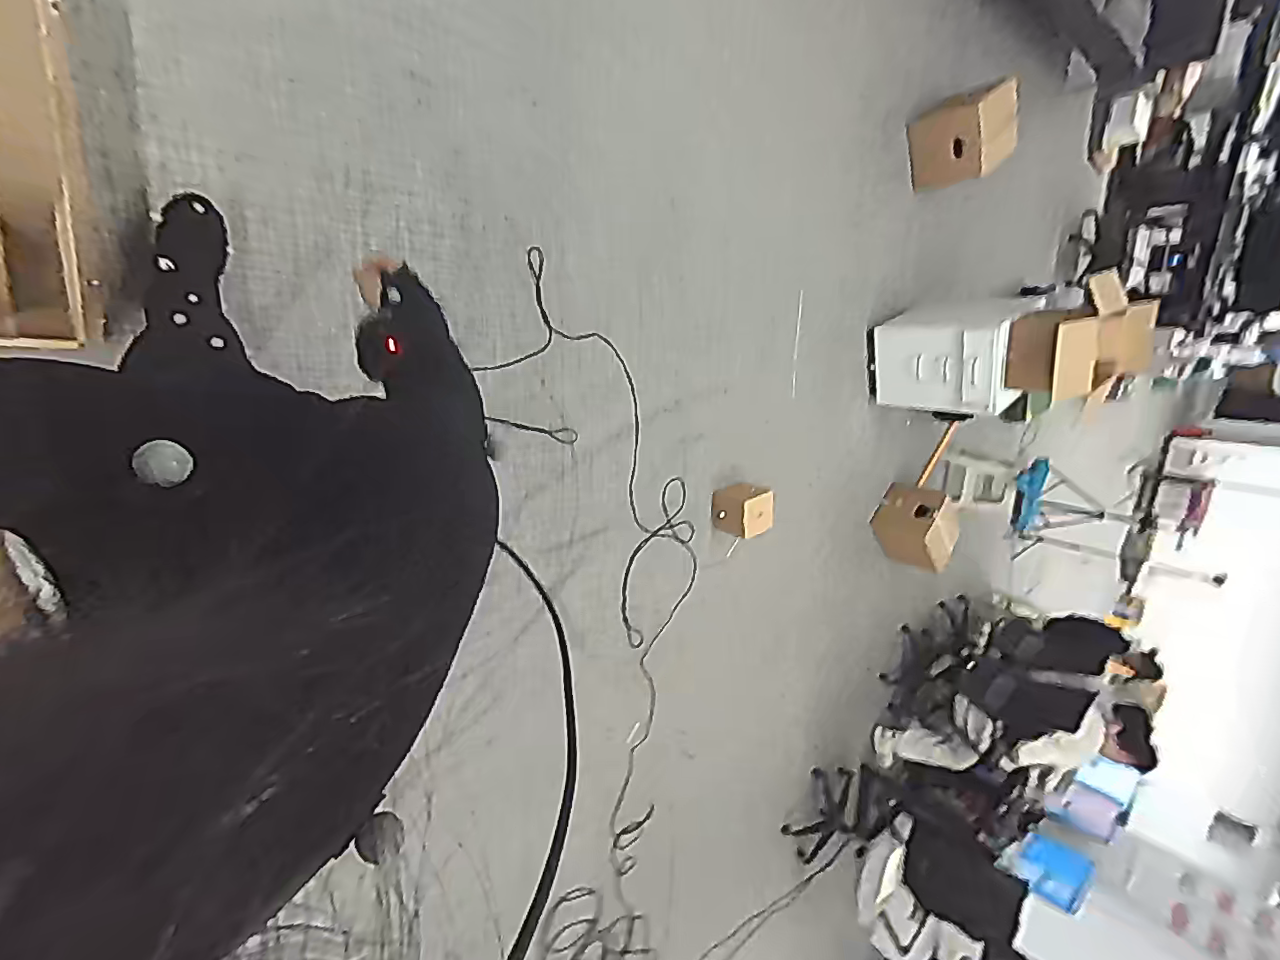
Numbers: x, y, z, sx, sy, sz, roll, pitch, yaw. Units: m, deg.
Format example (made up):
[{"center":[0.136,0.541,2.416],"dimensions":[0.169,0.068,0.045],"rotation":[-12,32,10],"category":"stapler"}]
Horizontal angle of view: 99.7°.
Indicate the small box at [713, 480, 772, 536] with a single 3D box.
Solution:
[{"center":[0.421,0.109,2.224],"dimensions":[0.179,0.176,0.168],"rotation":[-19,113,-35],"category":"small box"}]
